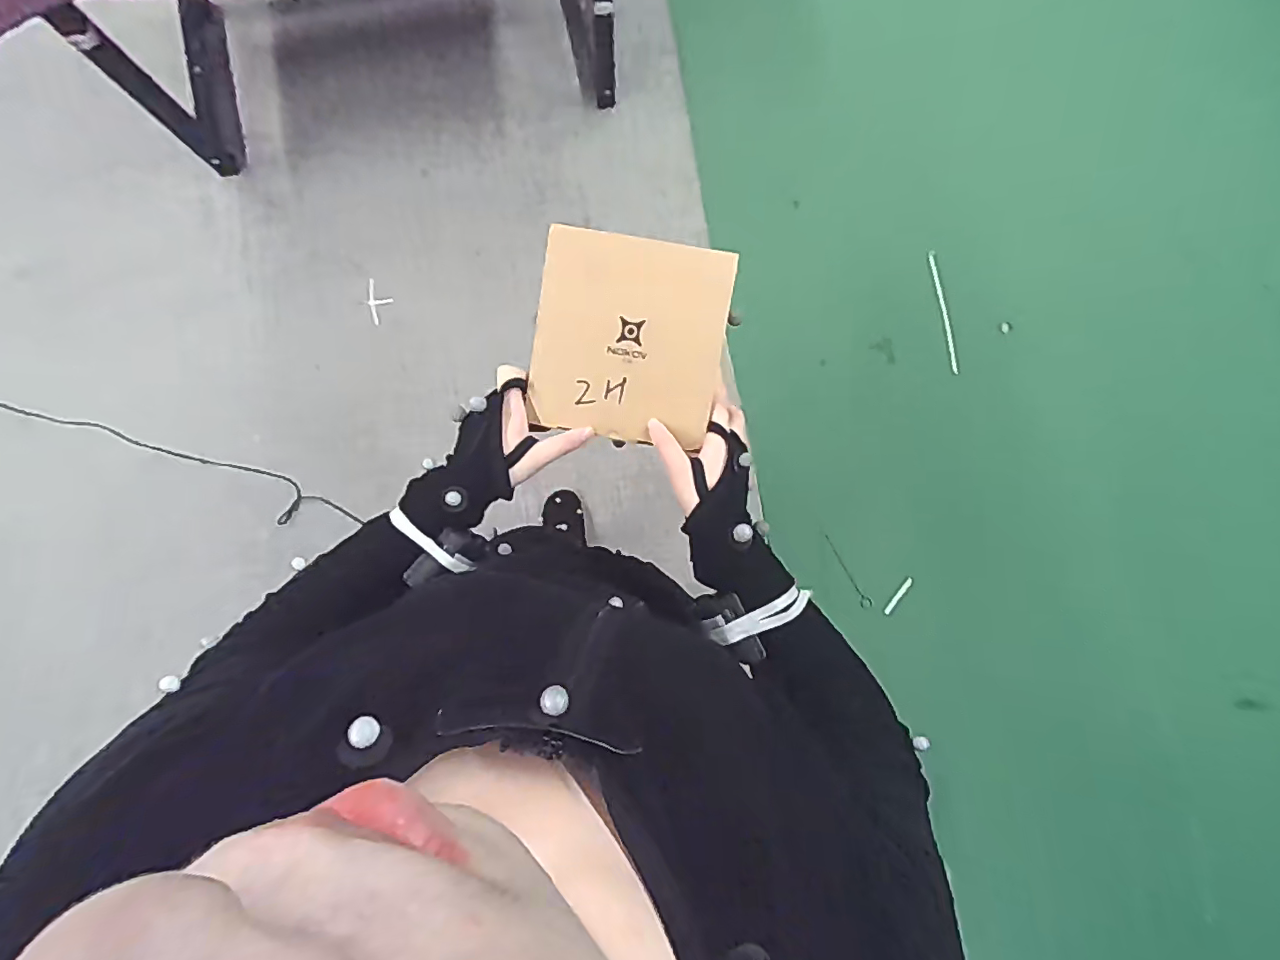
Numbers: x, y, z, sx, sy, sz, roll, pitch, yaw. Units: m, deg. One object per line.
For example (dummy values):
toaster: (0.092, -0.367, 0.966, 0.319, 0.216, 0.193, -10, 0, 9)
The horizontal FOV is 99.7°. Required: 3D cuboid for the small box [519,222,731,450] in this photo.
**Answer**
small box: (-0.013, -0.135, 0.553, 0.168, 0.176, 0.179, 9, 99, 2)
